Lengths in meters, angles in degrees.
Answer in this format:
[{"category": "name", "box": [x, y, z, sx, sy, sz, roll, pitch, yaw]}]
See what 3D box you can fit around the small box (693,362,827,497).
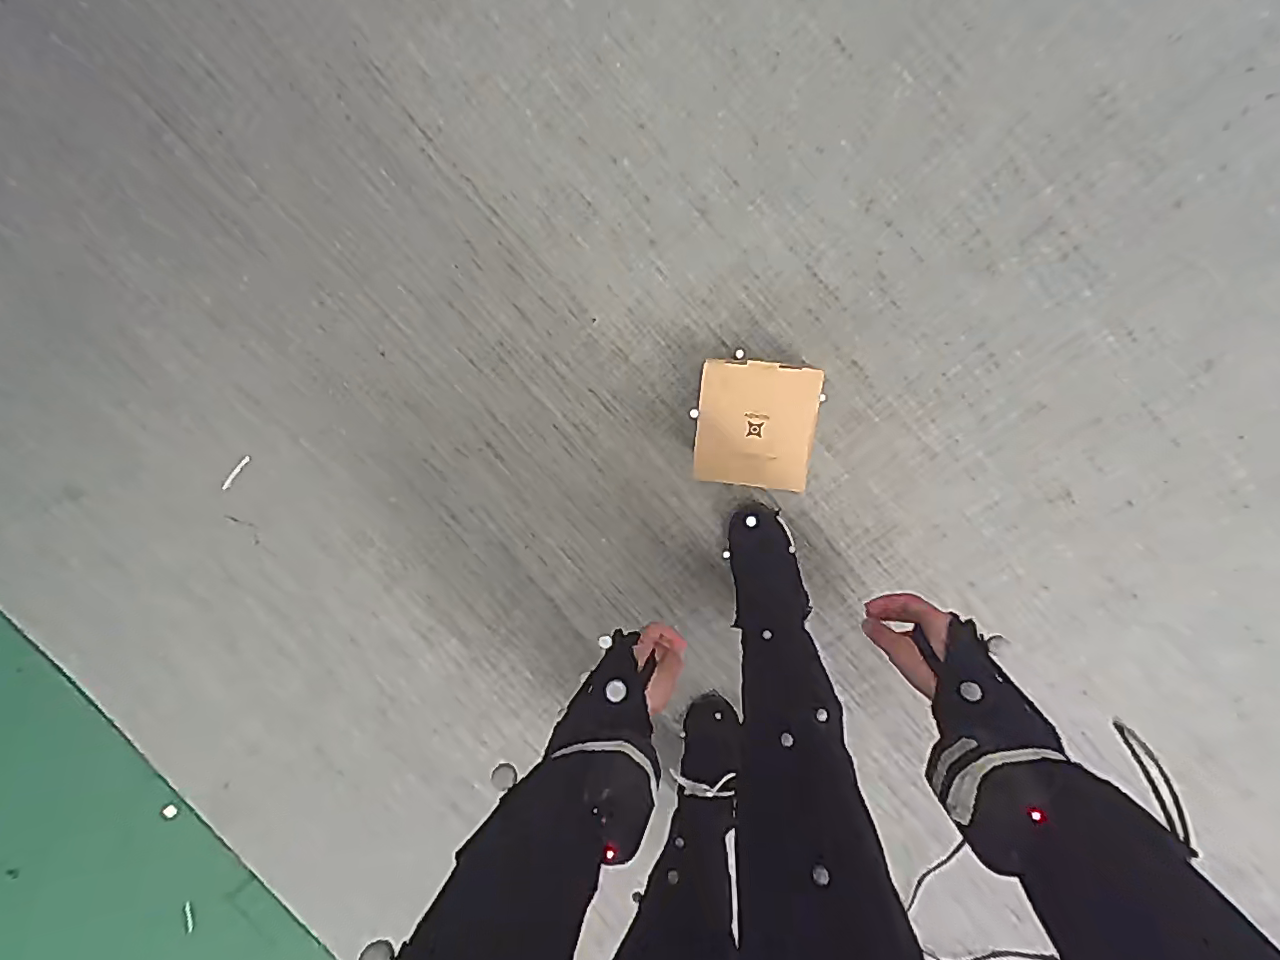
[{"category": "small box", "box": [0.179, -0.087, 0.826, 0.168, 0.176, 0.179, 7, 105, 12]}]
